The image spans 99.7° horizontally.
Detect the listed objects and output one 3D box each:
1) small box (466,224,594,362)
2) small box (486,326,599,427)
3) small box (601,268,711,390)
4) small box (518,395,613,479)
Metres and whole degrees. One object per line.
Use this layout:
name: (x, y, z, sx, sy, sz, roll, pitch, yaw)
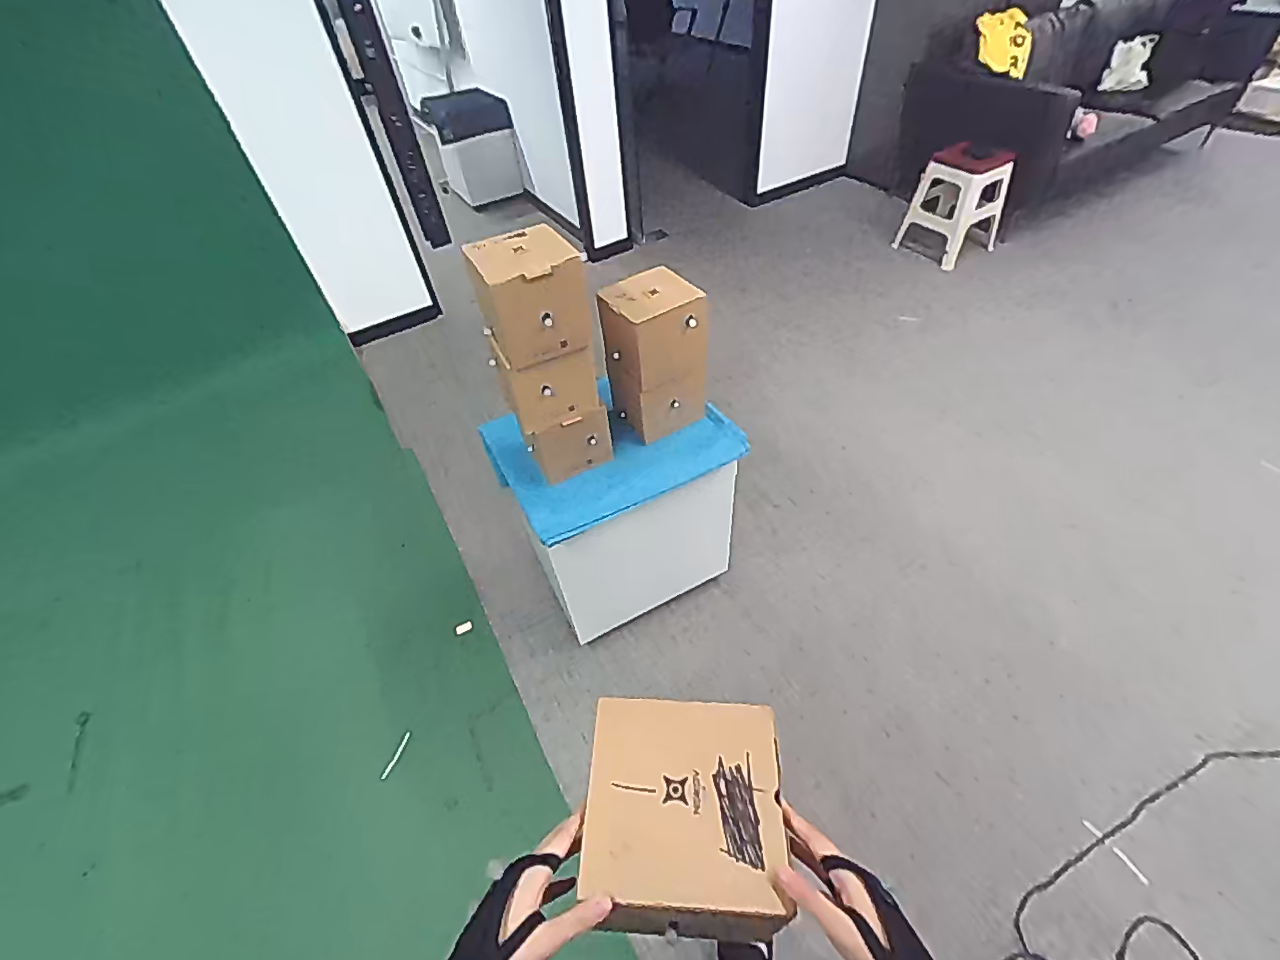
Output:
small box: (-0.195, -0.334, 0.985, 0.168, 0.176, 0.179, -22, 49, -16)
small box: (-0.194, -0.227, 1.110, 0.168, 0.176, 0.179, -22, 48, -15)
small box: (0.035, -0.326, 1.171, 0.179, 0.176, 0.168, -27, 50, -17)
small box: (-0.173, -0.122, 1.232, 0.168, 0.176, 0.179, -23, 49, -17)
